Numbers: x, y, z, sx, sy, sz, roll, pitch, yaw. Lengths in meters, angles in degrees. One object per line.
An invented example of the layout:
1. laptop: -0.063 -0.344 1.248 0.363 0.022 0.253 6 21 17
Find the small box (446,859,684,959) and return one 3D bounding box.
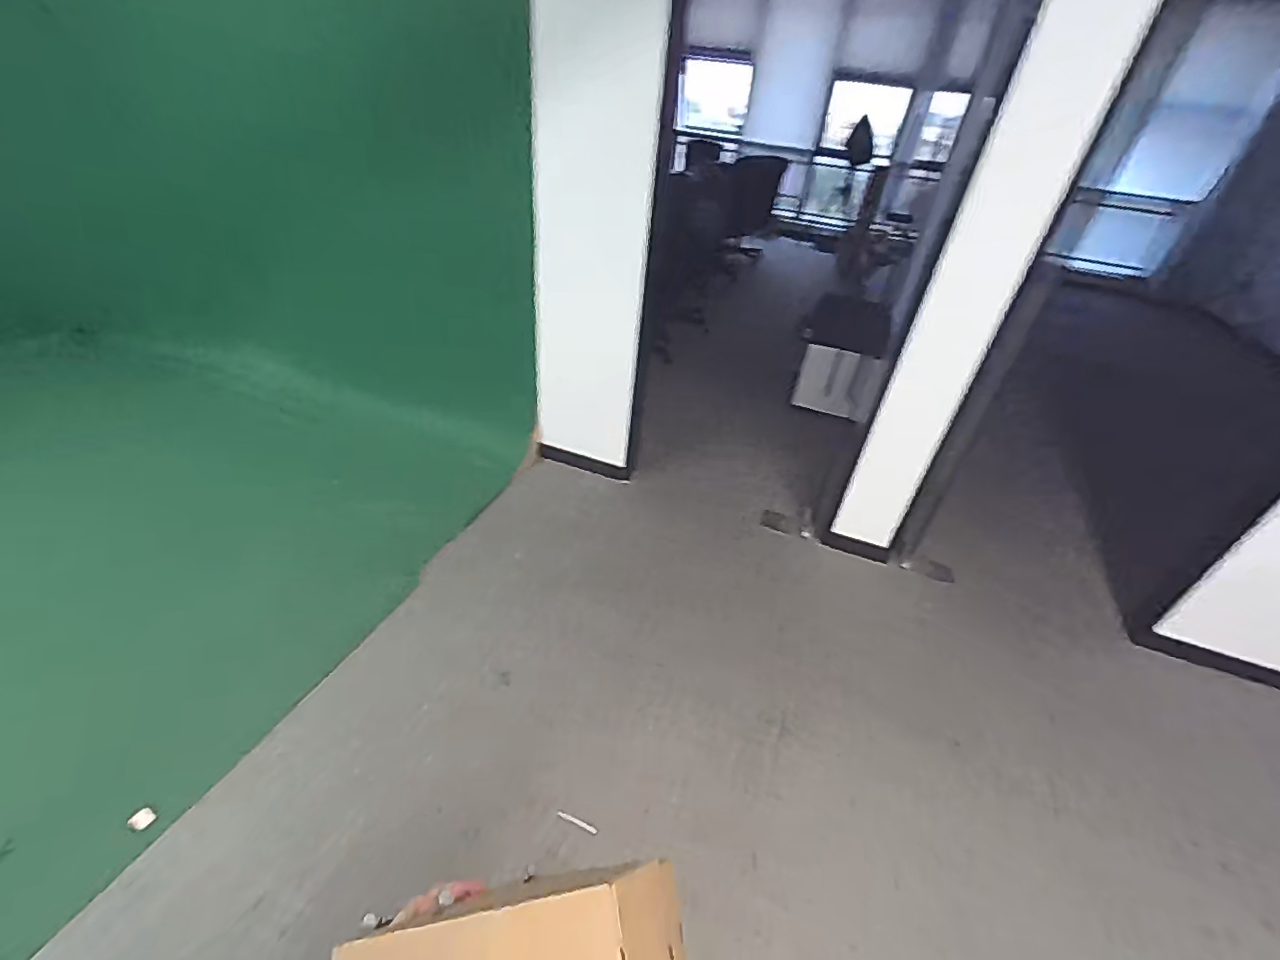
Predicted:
1. small box: -0.055 0.449 0.479 0.179 0.176 0.168 -11 58 4
